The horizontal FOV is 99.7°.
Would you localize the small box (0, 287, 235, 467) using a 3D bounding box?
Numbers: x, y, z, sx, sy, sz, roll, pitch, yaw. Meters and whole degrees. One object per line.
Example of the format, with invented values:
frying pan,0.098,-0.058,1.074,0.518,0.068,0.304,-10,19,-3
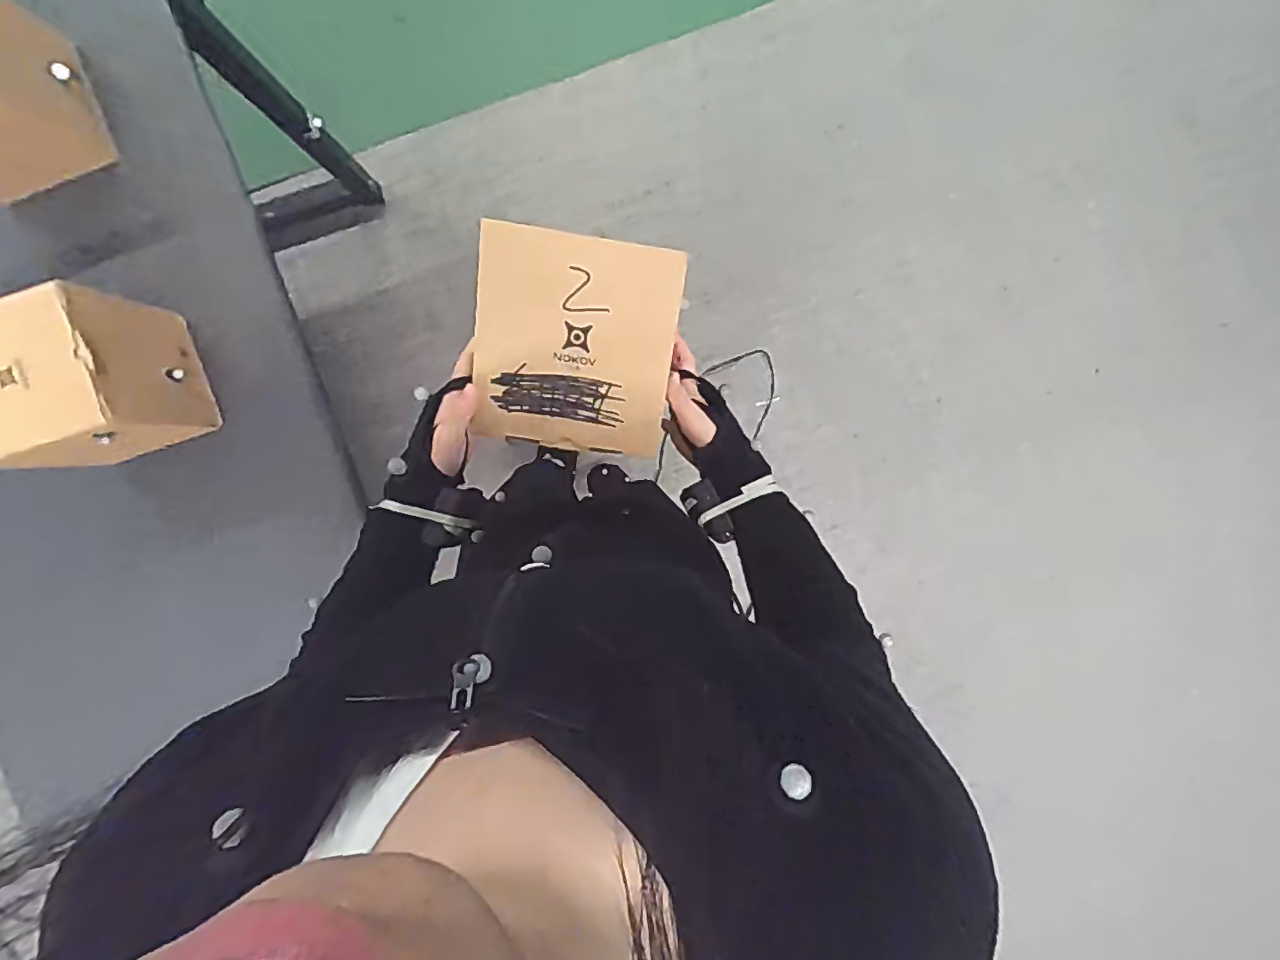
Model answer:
small box,-0.688,-0.120,0.700,0.179,0.176,0.168,-19,93,2
